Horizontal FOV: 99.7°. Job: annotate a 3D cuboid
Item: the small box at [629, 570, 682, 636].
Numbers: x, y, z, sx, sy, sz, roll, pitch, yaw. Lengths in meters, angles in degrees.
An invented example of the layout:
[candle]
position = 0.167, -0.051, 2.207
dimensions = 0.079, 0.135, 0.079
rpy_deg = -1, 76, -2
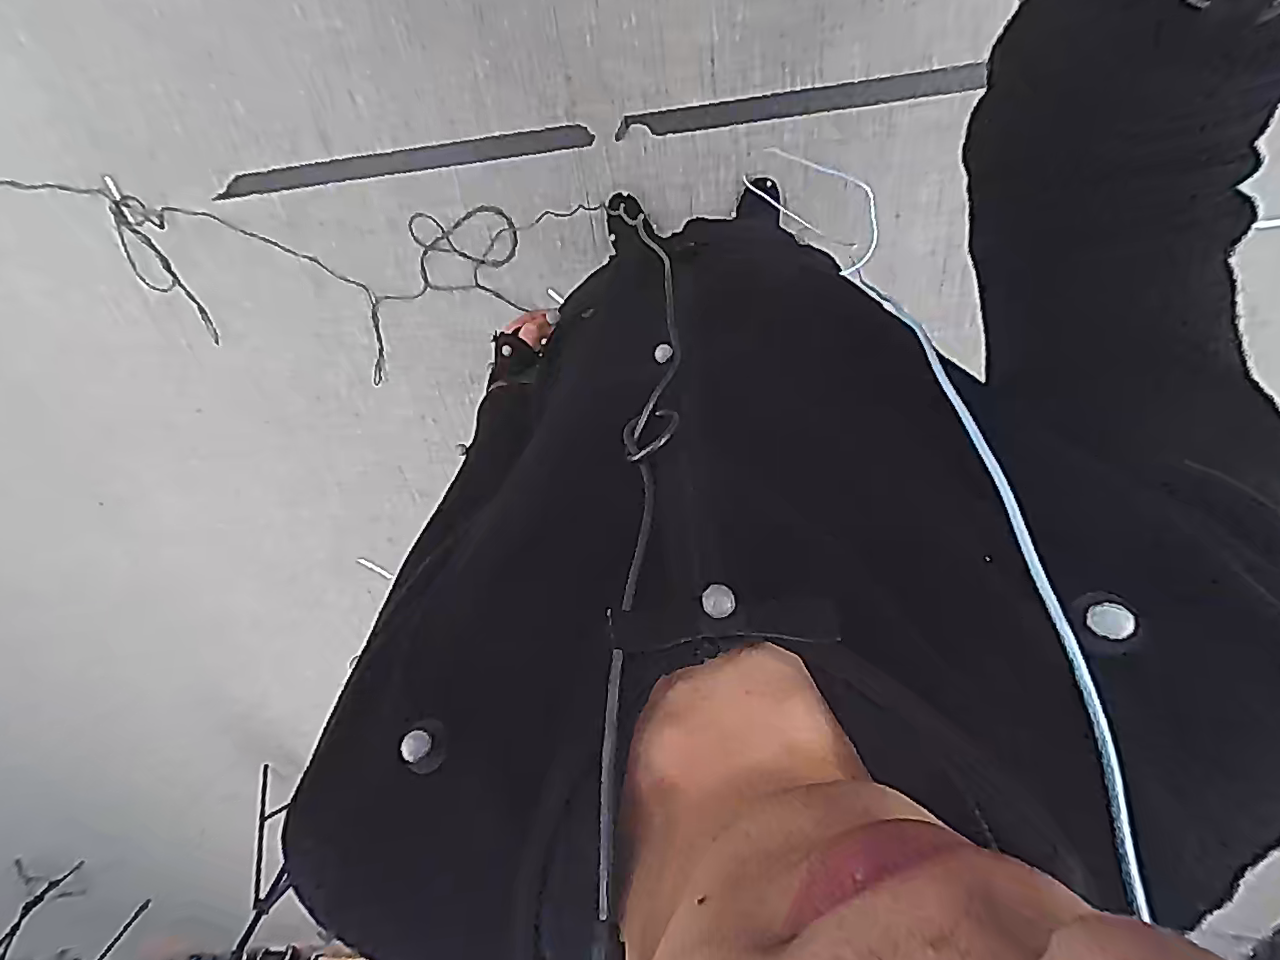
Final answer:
[small box]
position = 0.059, 0.444, 1.987
dimensions = 0.168, 0.176, 0.179
rpy_deg = -8, 122, 9
